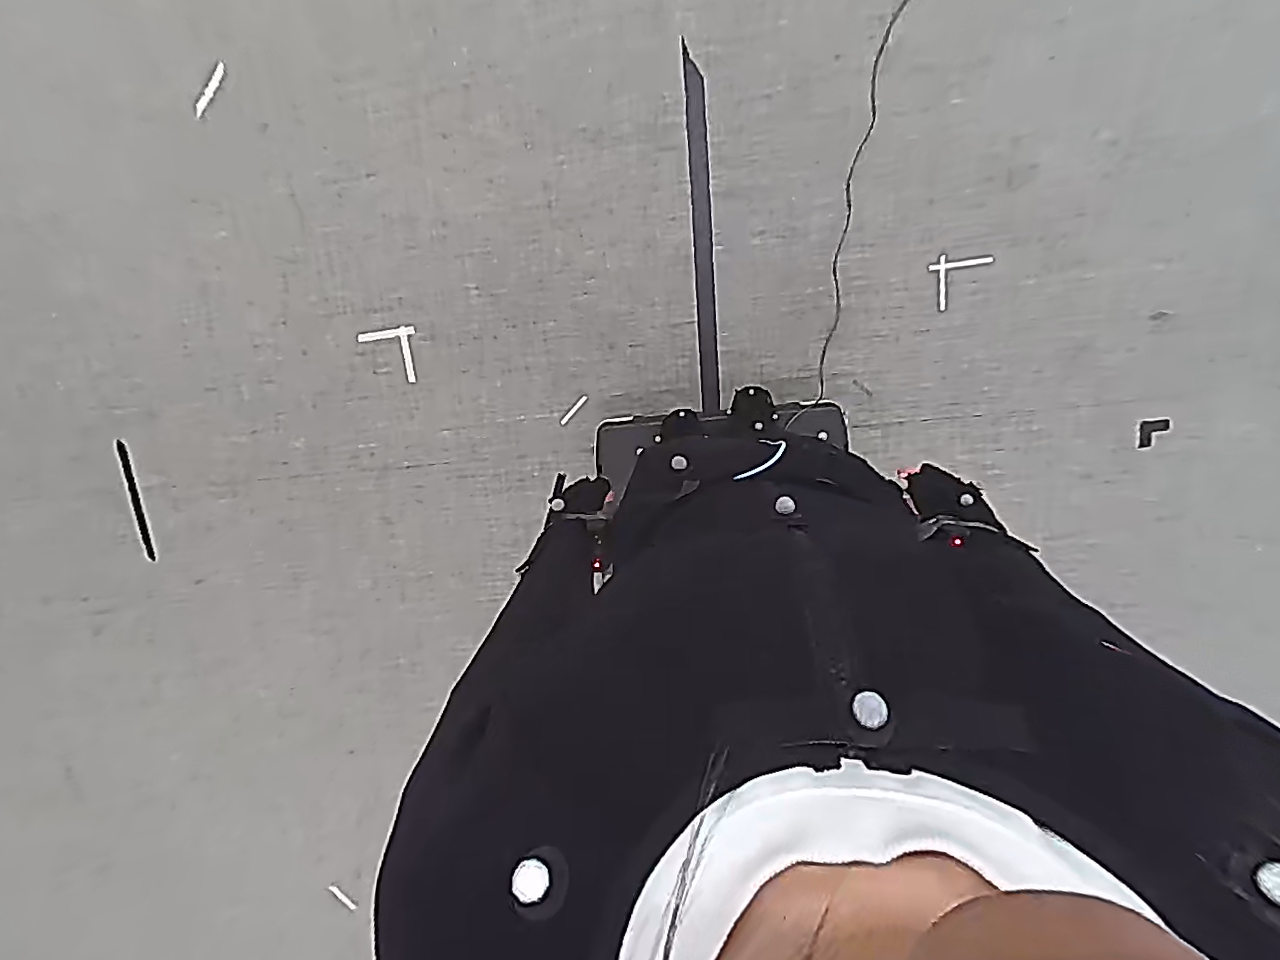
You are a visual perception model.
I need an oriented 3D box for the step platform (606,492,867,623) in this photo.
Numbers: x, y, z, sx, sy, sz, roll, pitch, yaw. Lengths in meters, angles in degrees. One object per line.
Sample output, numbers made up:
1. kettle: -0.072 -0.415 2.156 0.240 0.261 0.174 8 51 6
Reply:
1. step platform: 0.250 0.214 1.473 0.684 0.204 0.286 -5 99 8
